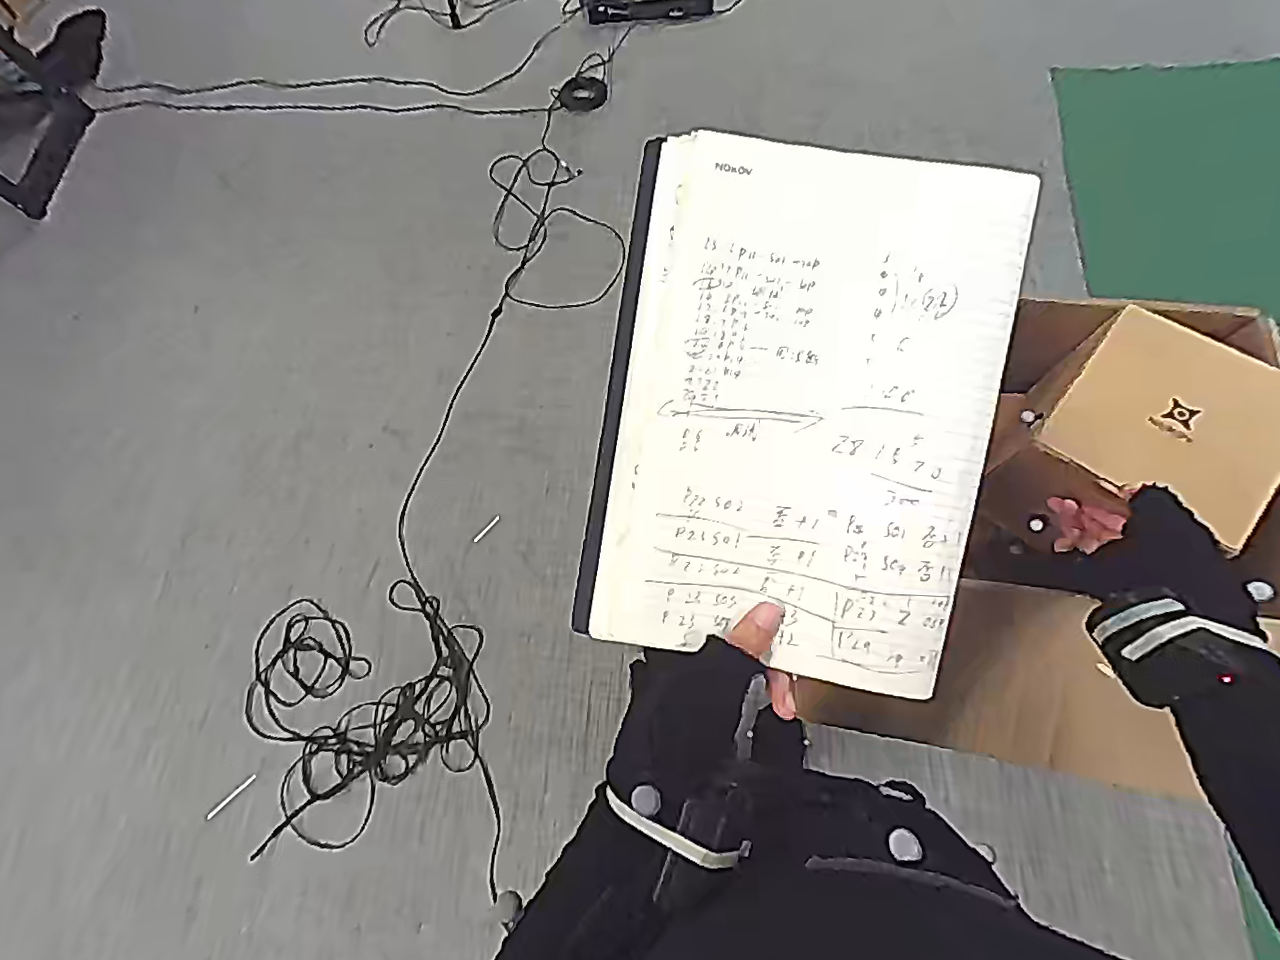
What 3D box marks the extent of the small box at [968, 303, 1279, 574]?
[{"bbox_3d":[0.472,-0.030,0.540,0.168,0.176,0.179,36,80,18],"label":"small box"}]
